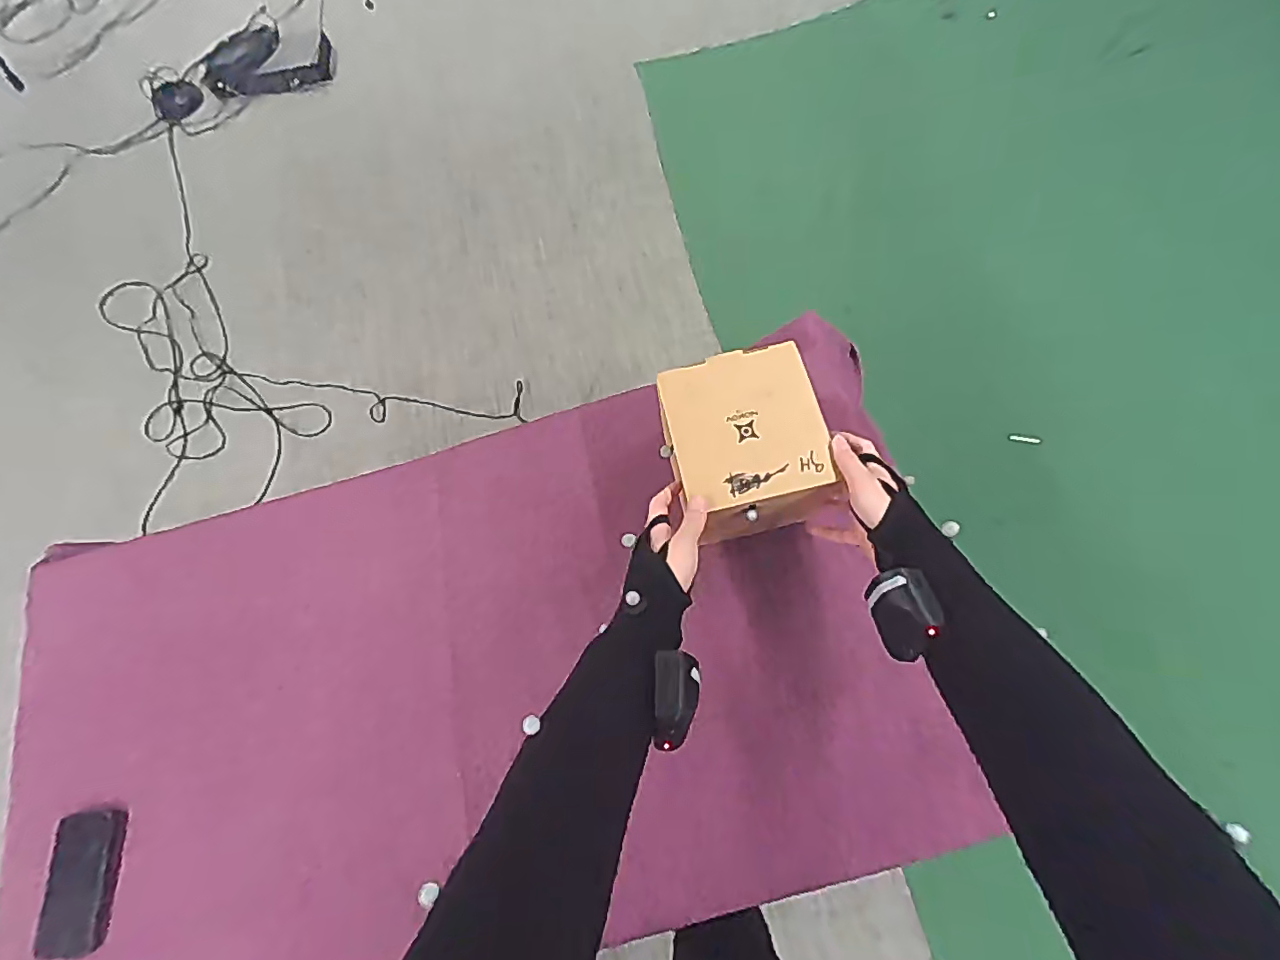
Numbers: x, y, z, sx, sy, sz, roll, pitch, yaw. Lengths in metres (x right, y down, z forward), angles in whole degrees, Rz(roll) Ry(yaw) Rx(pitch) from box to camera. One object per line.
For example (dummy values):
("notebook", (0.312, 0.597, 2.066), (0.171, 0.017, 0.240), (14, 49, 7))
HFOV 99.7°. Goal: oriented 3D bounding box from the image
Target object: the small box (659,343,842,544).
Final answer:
("small box", (0.122, -0.035, 0.664), (0.168, 0.176, 0.179), (-13, 71, 2))
